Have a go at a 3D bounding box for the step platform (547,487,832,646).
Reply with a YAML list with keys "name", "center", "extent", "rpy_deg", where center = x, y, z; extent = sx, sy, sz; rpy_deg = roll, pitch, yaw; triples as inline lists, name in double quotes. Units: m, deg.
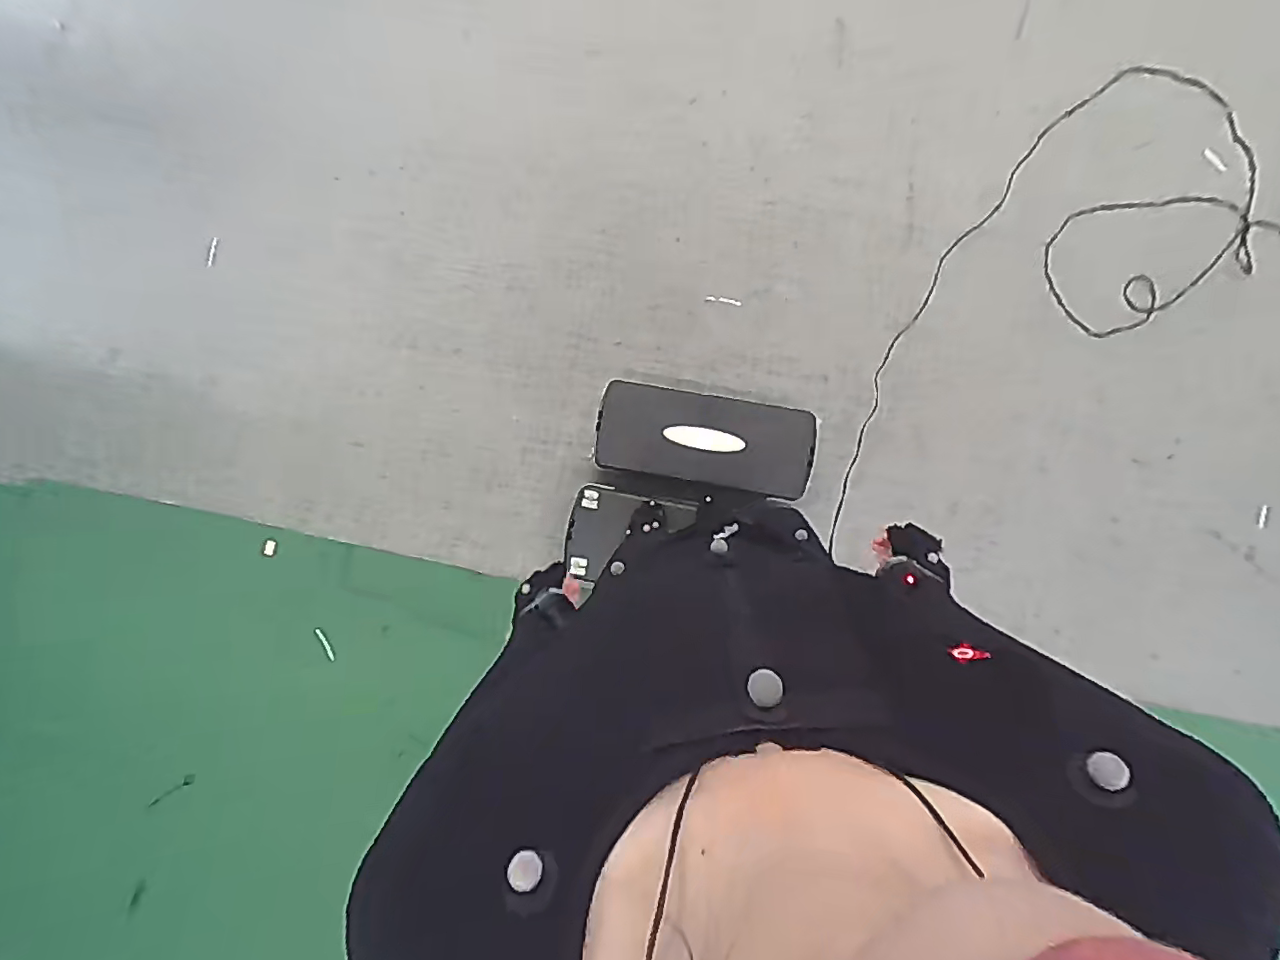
- name: "step platform"
  center: [0.121, 0.209, 1.396]
  extent: [0.684, 0.204, 0.286]
  rpy_deg: [10, 88, 3]
